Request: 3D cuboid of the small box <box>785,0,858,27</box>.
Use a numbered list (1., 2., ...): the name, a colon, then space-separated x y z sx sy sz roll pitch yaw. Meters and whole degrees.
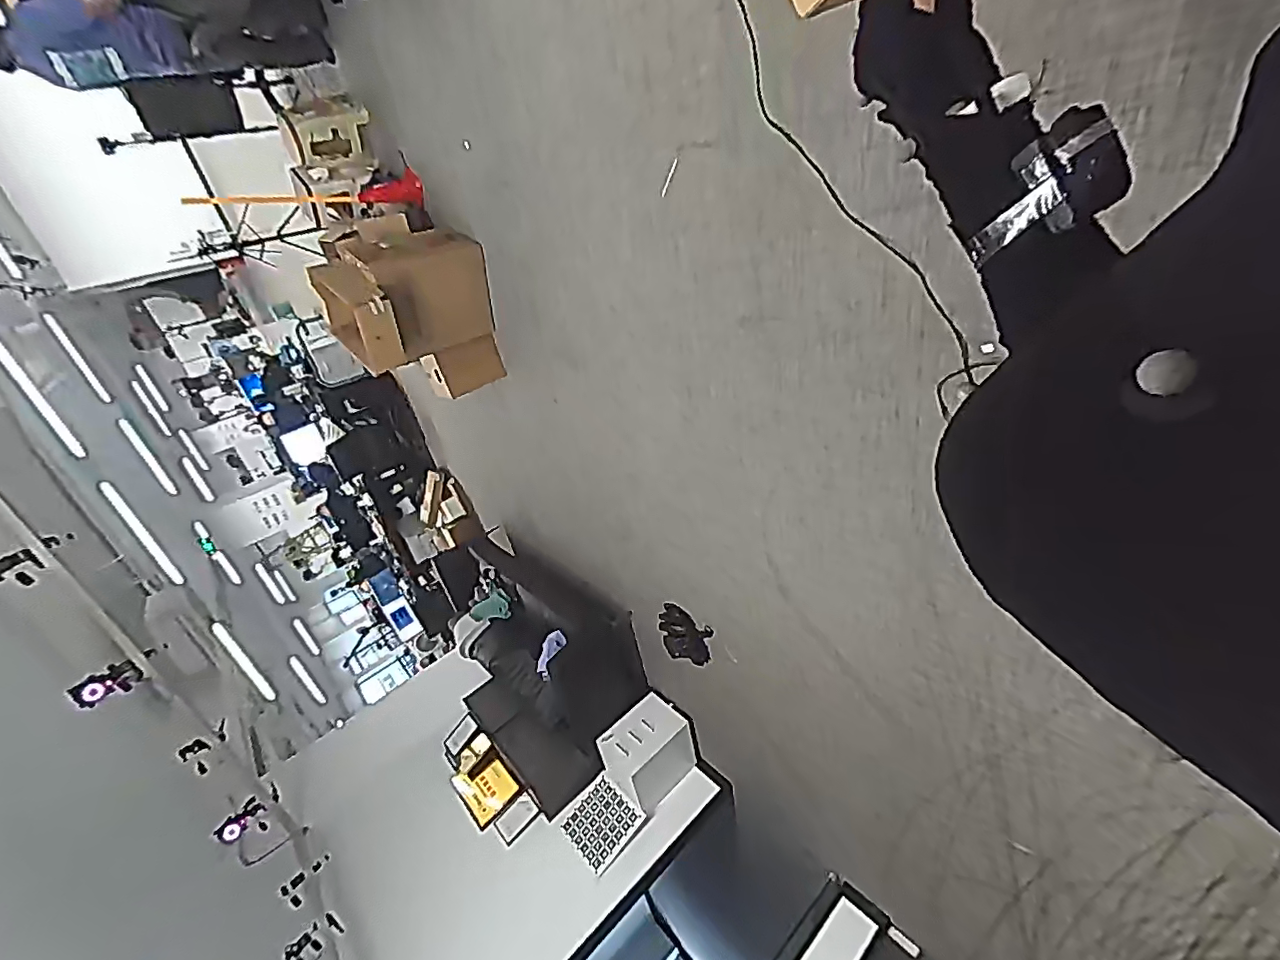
1. small box: 0.184 -0.481 0.376 0.179 0.176 0.168 59 157 -15
